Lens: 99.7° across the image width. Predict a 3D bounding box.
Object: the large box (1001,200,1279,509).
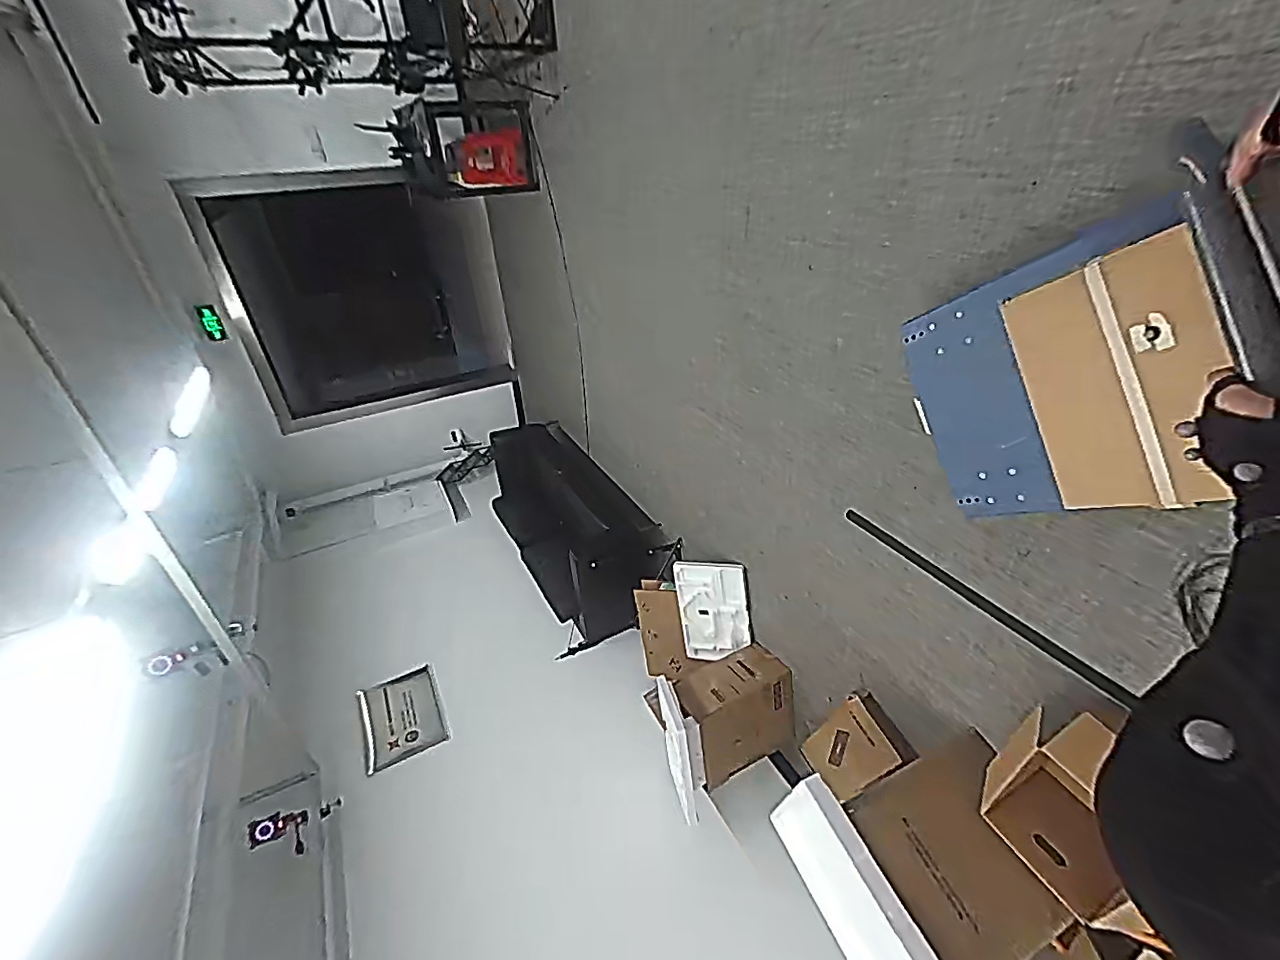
[{"bbox_3d":[0.914,-0.194,0.912,0.320,0.320,0.408,-19,89,68],"label":"large box"}]
